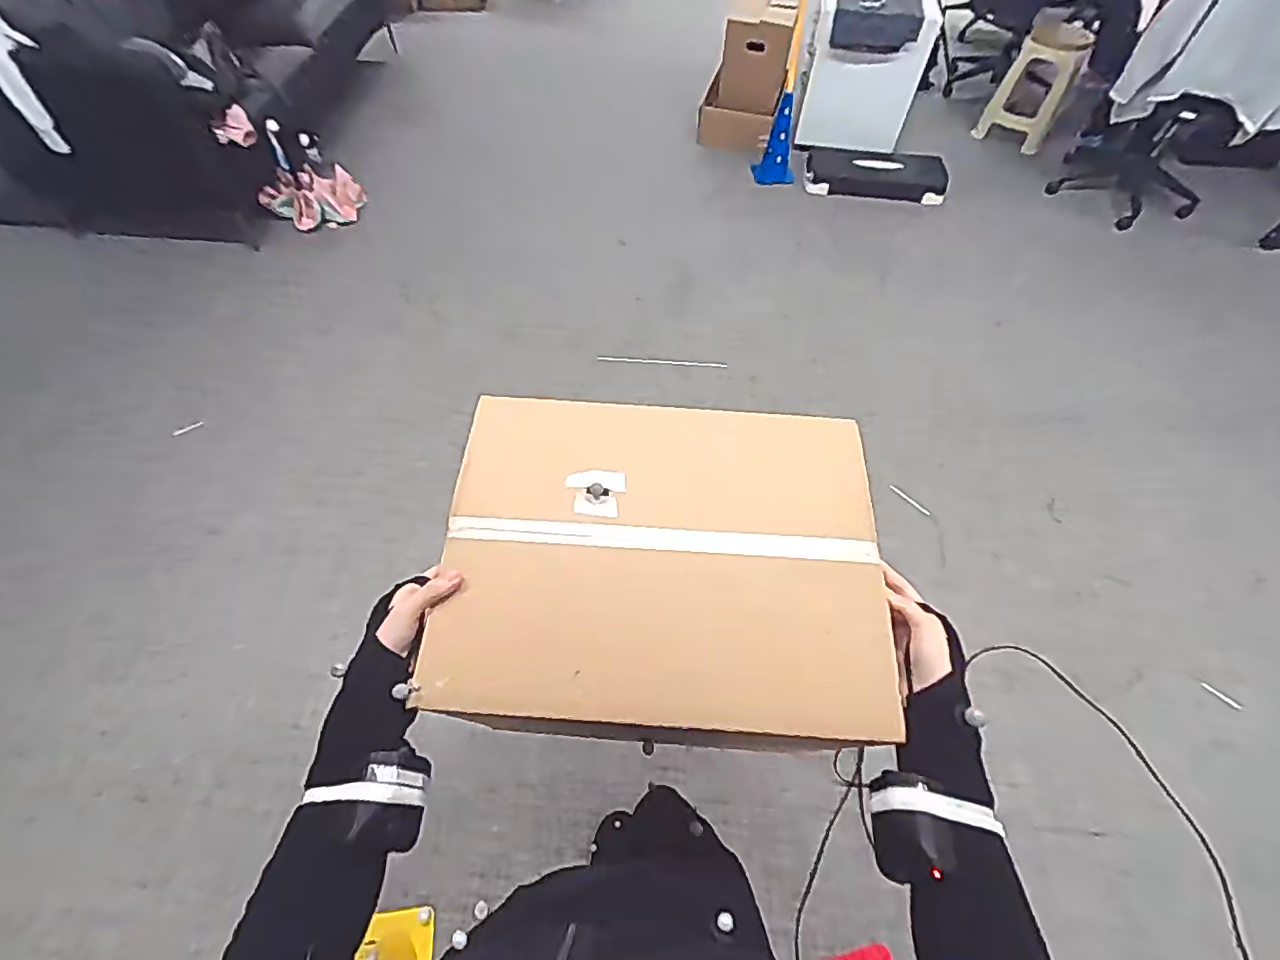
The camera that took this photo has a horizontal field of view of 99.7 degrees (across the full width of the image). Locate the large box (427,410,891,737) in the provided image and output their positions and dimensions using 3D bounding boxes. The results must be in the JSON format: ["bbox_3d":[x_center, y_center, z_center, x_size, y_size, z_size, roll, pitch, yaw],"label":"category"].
[{"bbox_3d":[0.023,0.133,0.658,0.408,0.320,0.320,3,61,2],"label":"large box"}]
